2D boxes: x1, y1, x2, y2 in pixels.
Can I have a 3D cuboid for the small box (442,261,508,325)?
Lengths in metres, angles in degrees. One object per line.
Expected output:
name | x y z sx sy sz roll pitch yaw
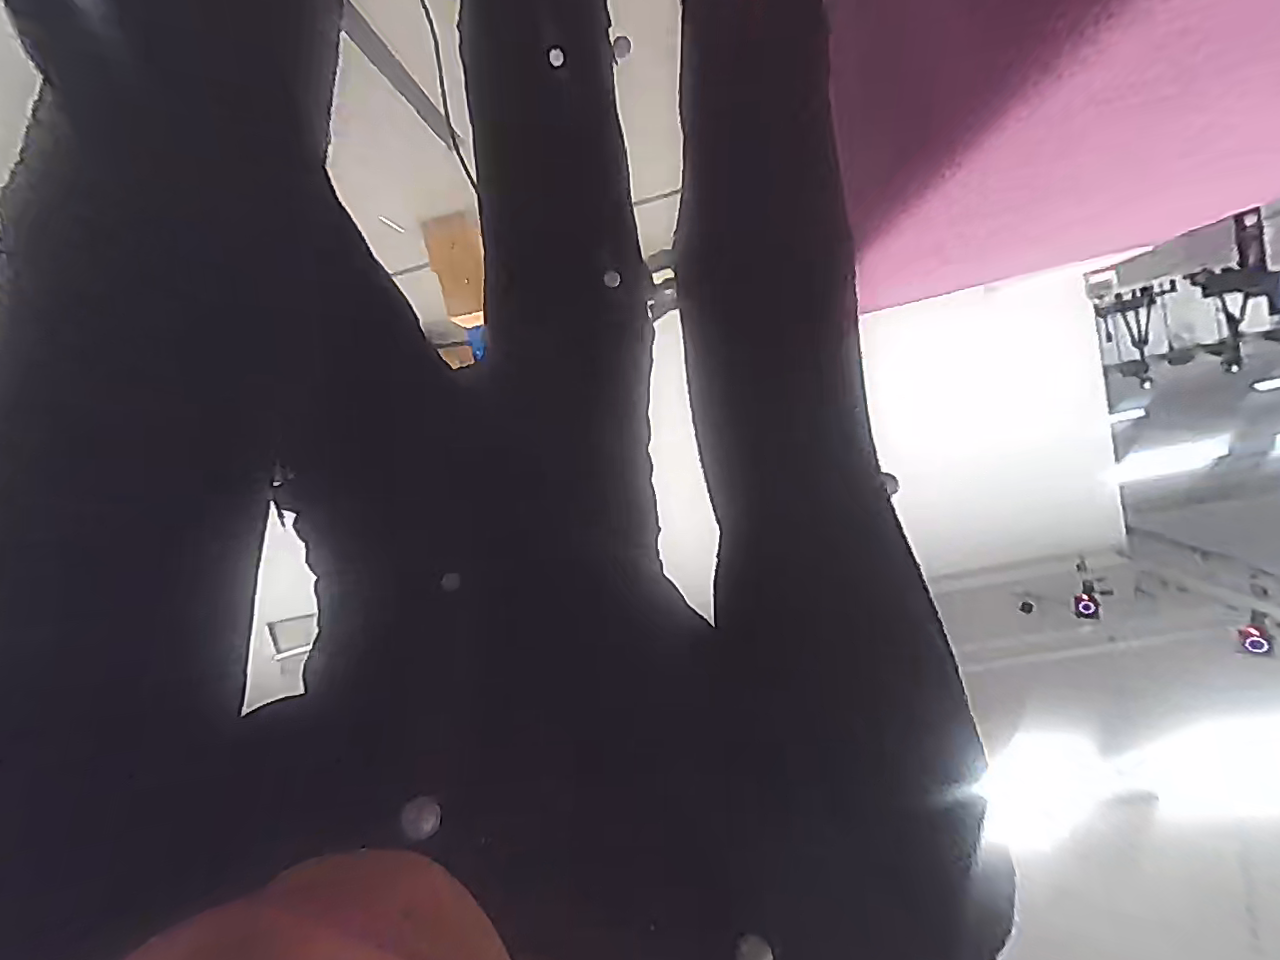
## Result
small box | -0.597 -0.680 1.969 0.168 0.176 0.179 -12 -175 4

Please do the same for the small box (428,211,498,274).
small box | -0.637 -0.835 1.940 0.179 0.176 0.168 -12 -174 9
